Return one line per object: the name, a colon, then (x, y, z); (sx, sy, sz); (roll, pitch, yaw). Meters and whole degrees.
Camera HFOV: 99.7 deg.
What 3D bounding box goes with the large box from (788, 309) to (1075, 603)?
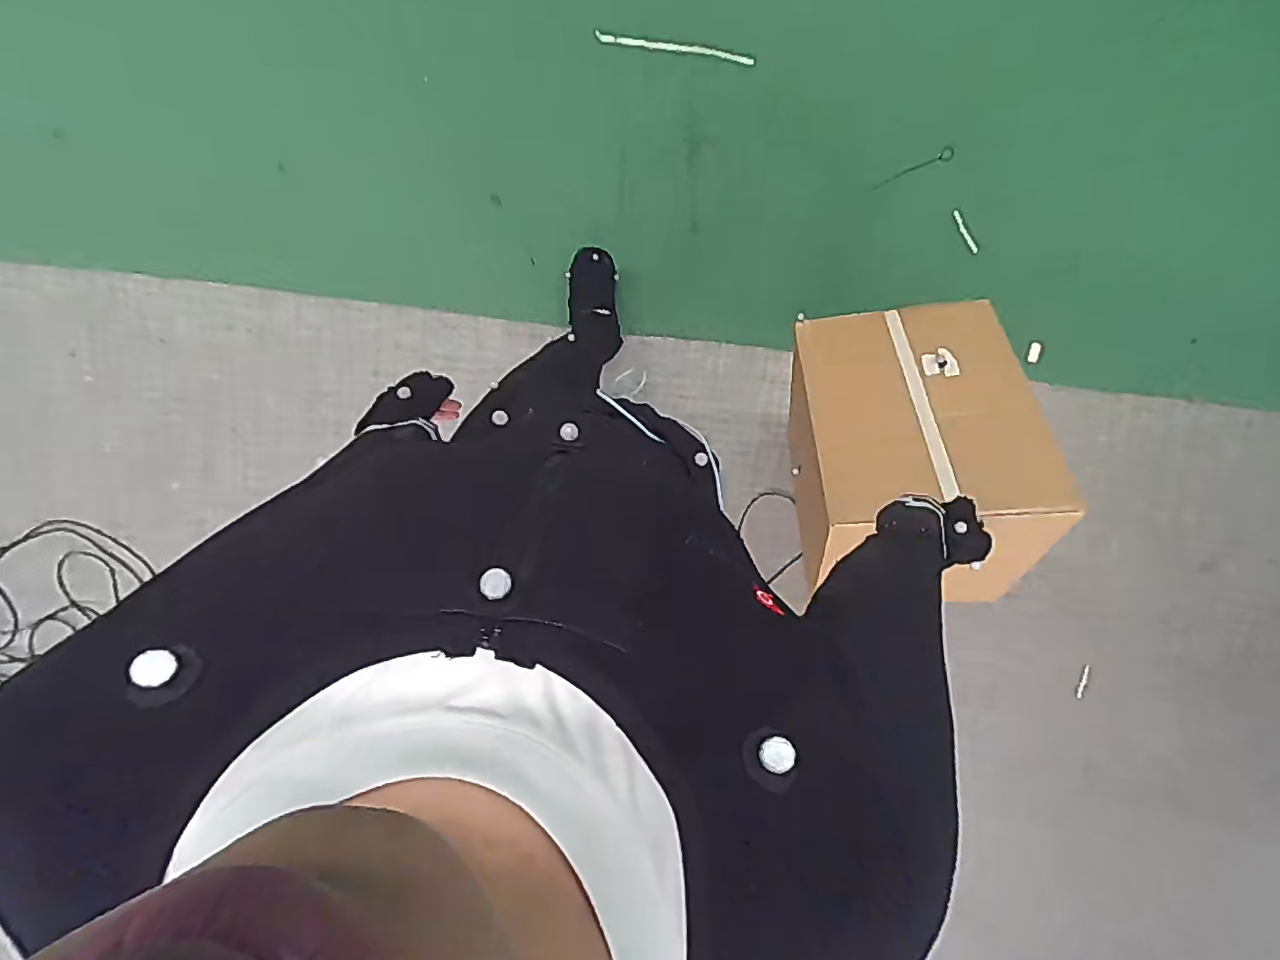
large box: (0.444, -0.033, 0.948); (0.320, 0.408, 0.320); (-3, 145, 9)
